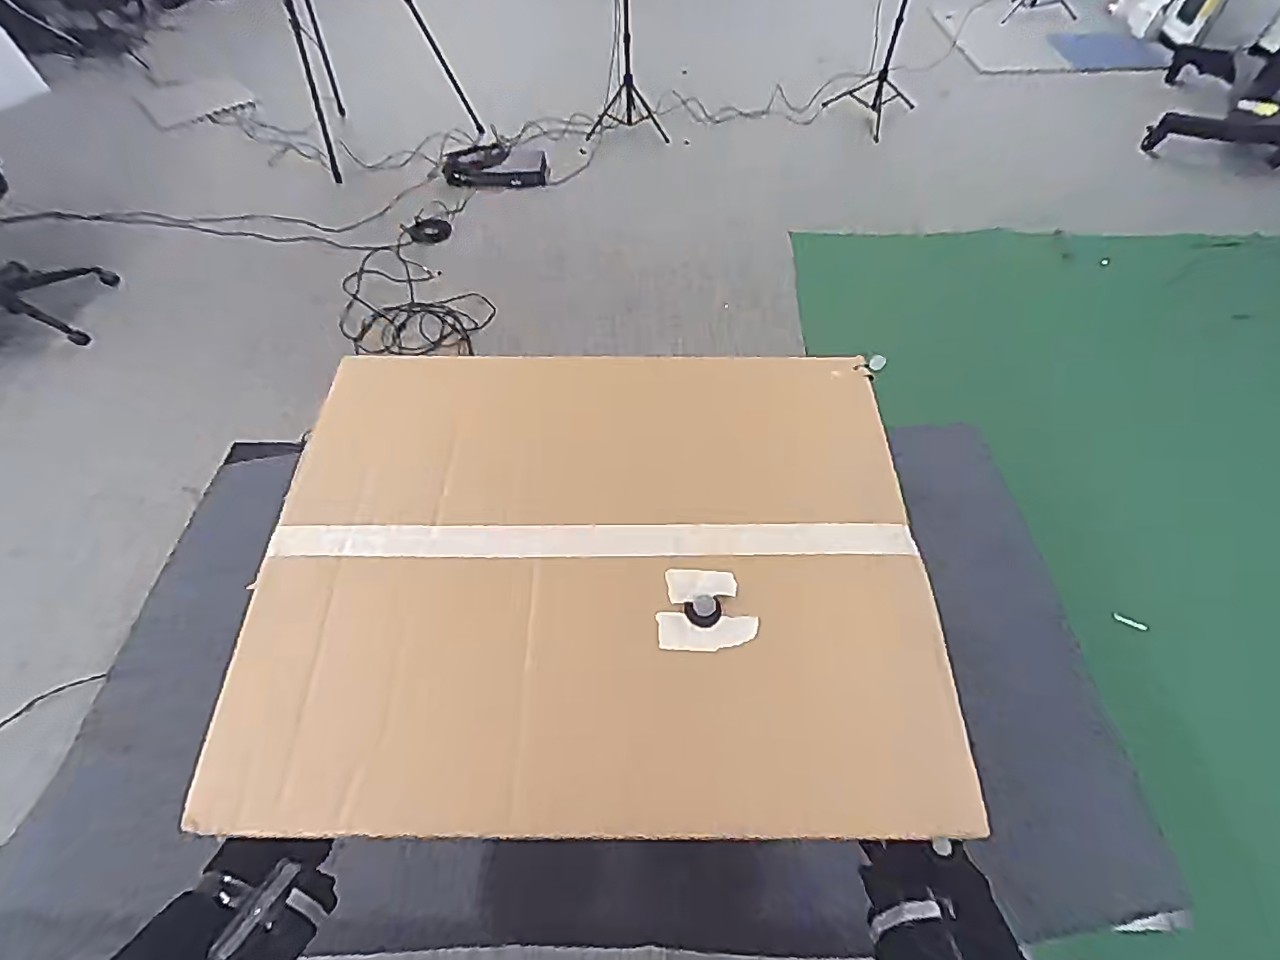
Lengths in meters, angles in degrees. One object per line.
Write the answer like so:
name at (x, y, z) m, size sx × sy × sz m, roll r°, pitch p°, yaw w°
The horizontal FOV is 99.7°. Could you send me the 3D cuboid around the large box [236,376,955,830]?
large box at (-0.027, 0.124, 0.496) m, size 0.408 × 0.320 × 0.320 m, roll 0°, pitch 61°, yaw 0°
